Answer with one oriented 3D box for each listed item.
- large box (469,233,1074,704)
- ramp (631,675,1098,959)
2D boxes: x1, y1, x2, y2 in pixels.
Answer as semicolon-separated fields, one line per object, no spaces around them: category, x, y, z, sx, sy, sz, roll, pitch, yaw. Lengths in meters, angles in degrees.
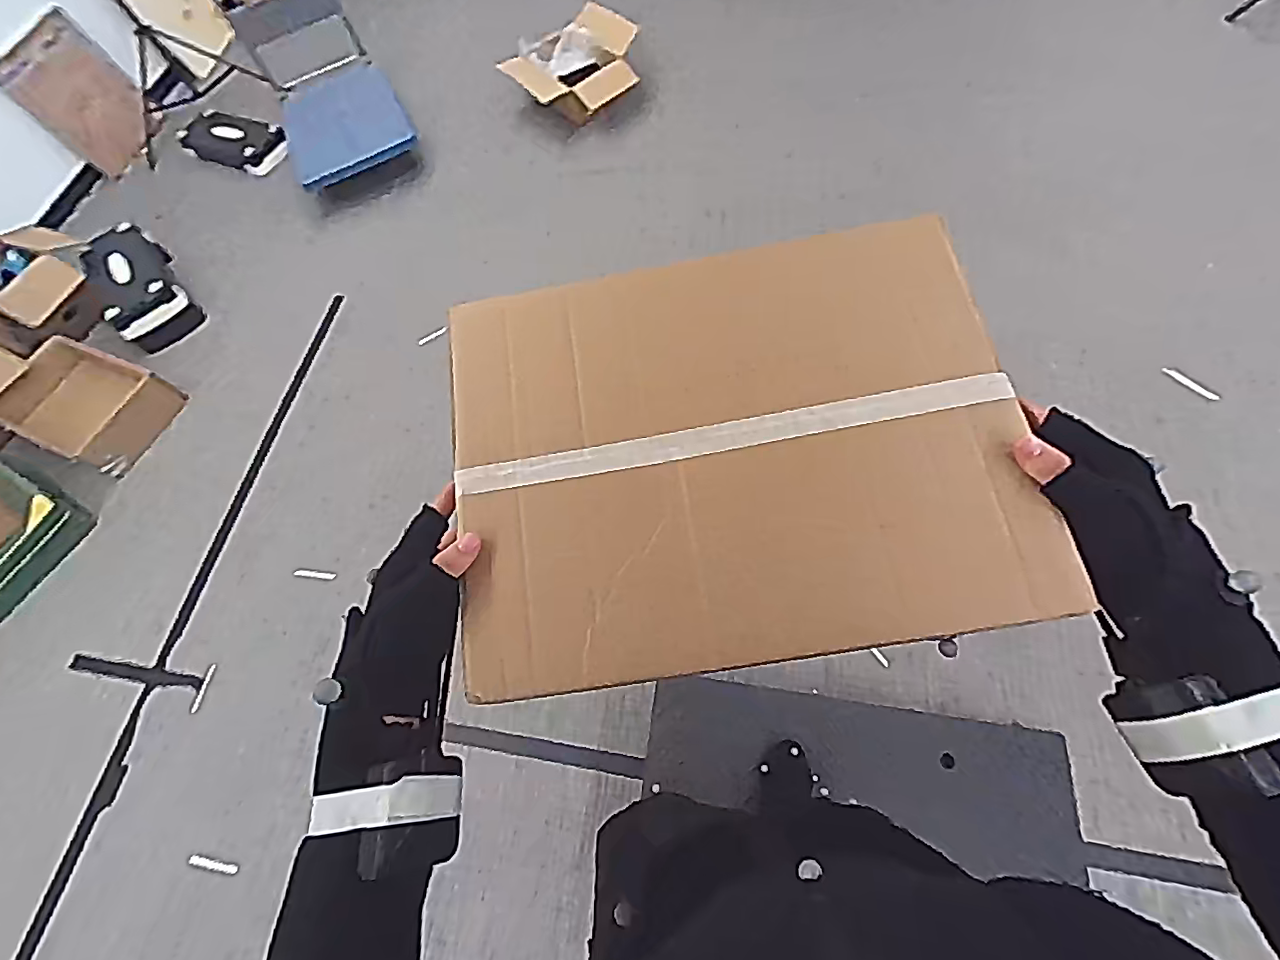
large box;0.088;0.018;0.550;0.408;0.320;0.320;-10;72;4
ramp;0.503;0.758;1.243;0.991;0.206;0.509;2;64;10
